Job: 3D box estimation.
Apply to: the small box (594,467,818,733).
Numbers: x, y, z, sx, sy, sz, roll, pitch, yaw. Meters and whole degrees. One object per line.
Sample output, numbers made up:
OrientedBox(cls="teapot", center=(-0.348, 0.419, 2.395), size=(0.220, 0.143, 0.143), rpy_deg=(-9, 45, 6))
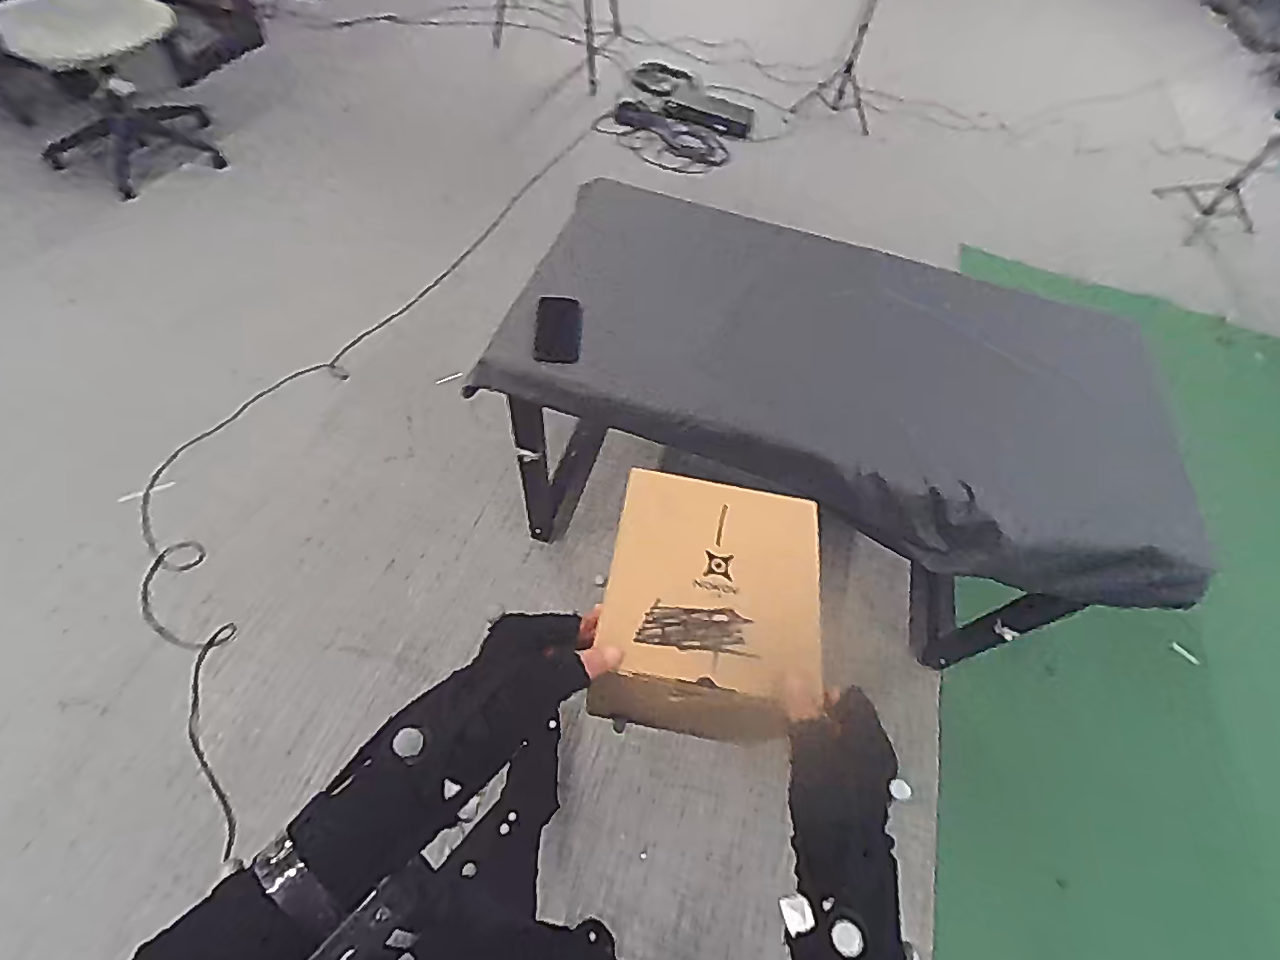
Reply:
OrientedBox(cls="small box", center=(0.055, 0.117, 0.499), size=(0.168, 0.176, 0.179), rpy_deg=(11, 54, 1))
